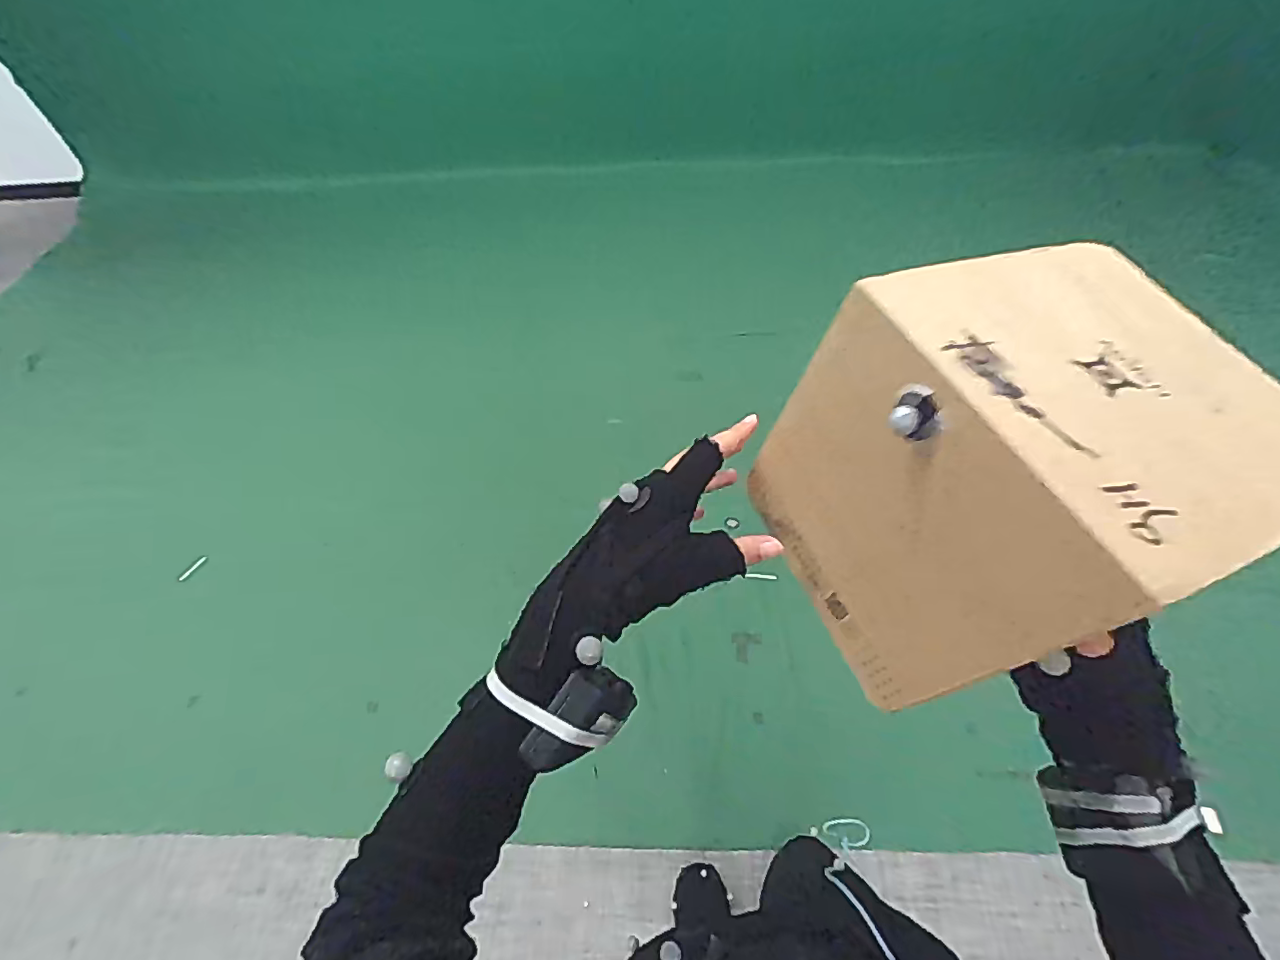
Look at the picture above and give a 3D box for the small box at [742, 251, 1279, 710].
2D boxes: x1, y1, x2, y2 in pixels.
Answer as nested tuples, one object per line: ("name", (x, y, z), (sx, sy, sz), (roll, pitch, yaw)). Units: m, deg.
("small box", (0.186, 0.002, 0.299), (0.179, 0.176, 0.168), (-15, 59, -21))
